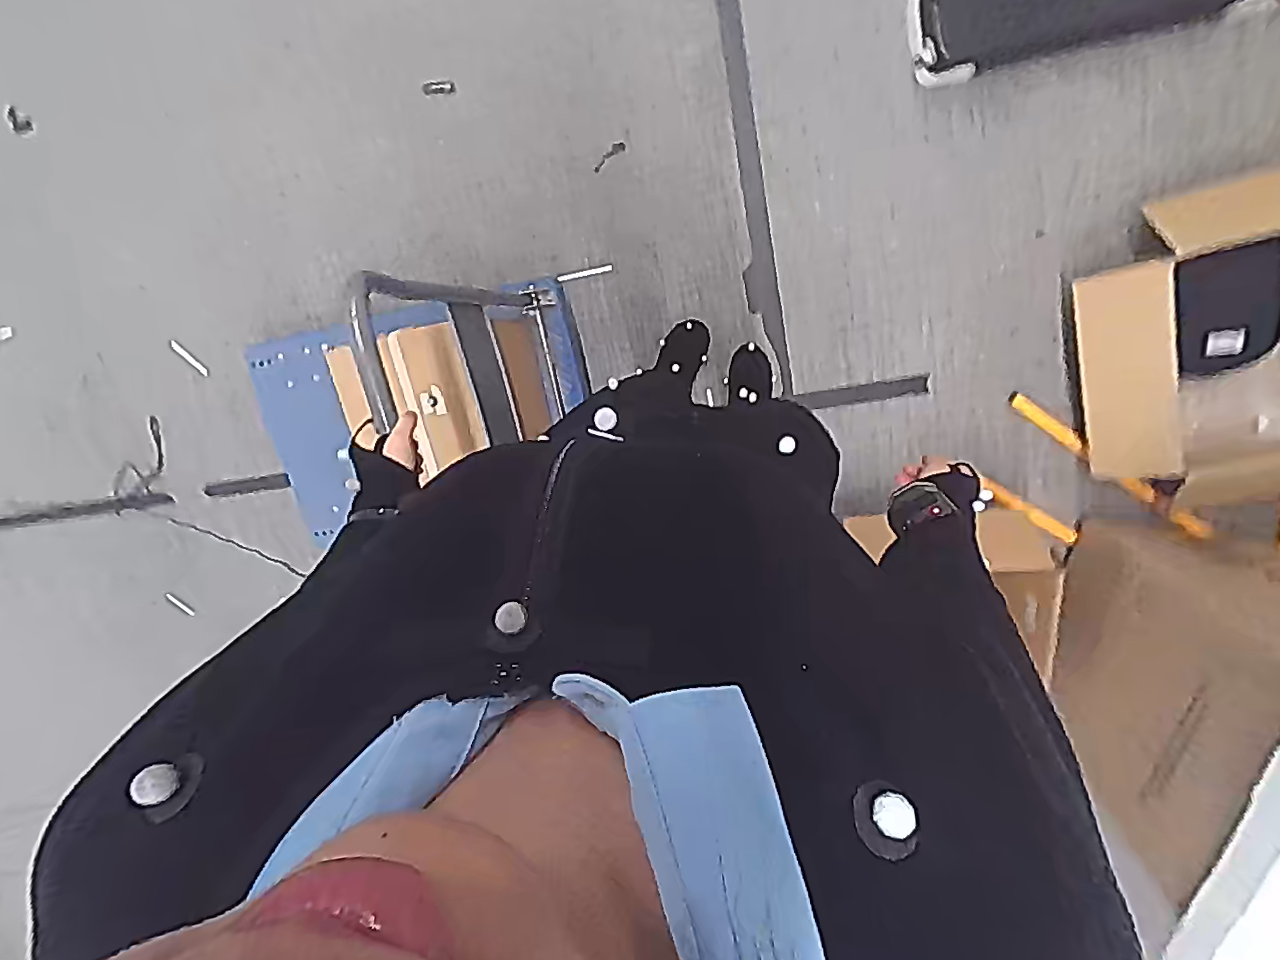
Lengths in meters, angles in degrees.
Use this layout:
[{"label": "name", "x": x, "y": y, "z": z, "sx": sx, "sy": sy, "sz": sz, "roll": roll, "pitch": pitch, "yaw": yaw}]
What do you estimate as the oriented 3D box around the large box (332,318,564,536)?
[{"label": "large box", "x": -0.396, "y": -0.128, "z": 1.216, "sx": 0.320, "sy": 0.320, "sz": 0.408, "roll": -8, "pitch": 103, "yaw": 11}]
